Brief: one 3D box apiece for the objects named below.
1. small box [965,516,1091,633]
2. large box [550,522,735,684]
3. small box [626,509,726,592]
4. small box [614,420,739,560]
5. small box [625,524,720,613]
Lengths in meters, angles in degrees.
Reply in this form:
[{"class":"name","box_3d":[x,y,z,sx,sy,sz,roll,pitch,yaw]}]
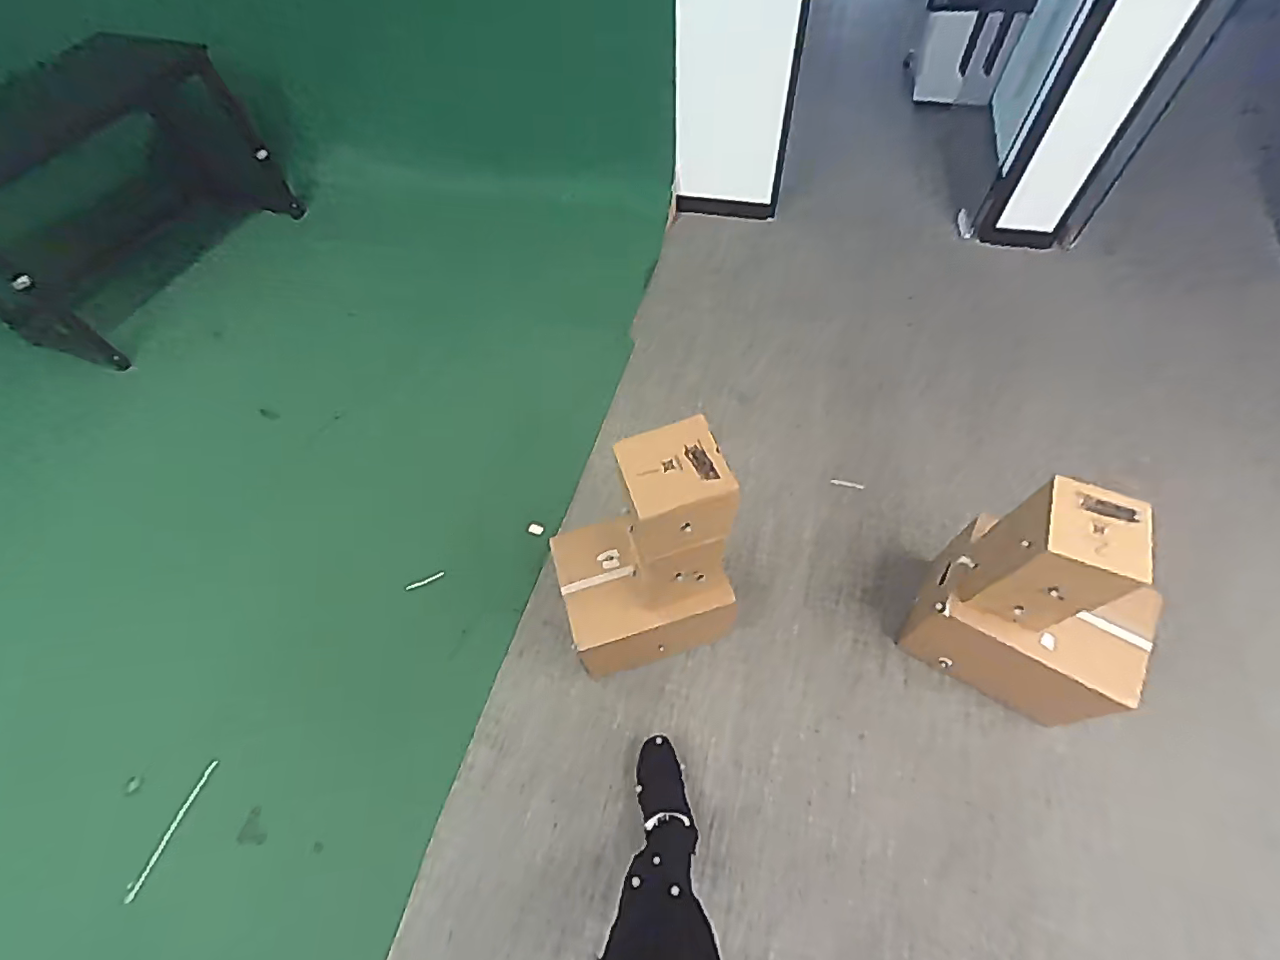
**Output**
[{"class":"small box","box_3d":[0.852,0.214,1.199,0.168,0.176,0.179,21,62,15]},{"class":"large box","box_3d":[0.008,0.316,1.479,0.408,0.320,0.320,-17,57,-6]},{"class":"small box","box_3d":[0.068,0.107,1.124,0.168,0.176,0.179,-16,59,-5]},{"class":"small box","box_3d":[0.063,0.022,0.984,0.179,0.176,0.168,-18,58,-6]},{"class":"small box","box_3d":[0.073,0.188,1.264,0.179,0.176,0.168,-17,58,-7]}]
